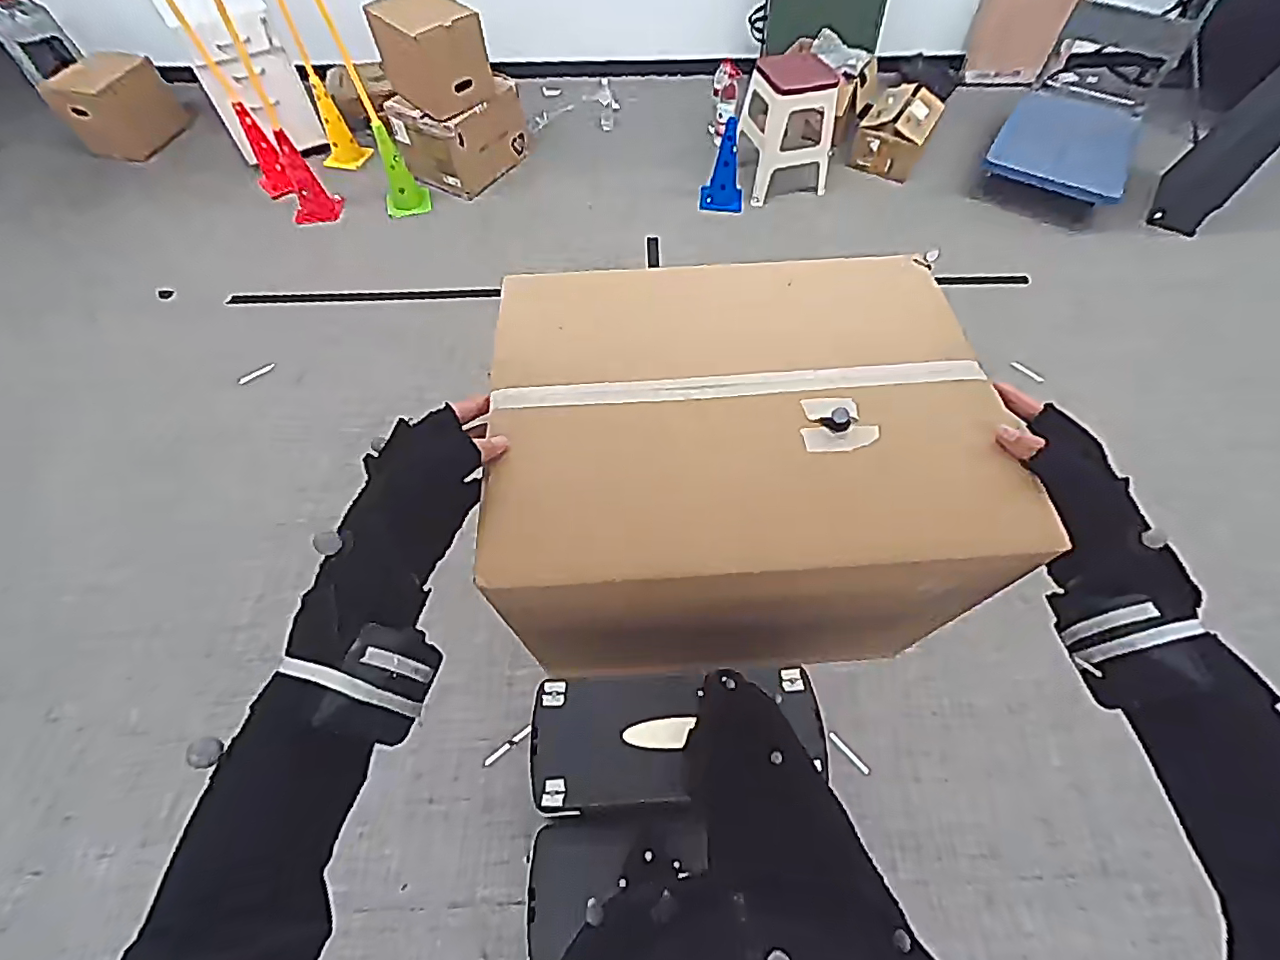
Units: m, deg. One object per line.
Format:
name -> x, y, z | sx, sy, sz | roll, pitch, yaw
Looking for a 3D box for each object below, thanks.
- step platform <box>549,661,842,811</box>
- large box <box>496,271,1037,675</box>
step platform -> 0.124, 0.614, 1.311 | 0.684, 0.204, 0.286 | -3, 59, -3
large box -> 0.082, 0.008, 0.589 | 0.408, 0.320, 0.320 | -3, 59, -2
